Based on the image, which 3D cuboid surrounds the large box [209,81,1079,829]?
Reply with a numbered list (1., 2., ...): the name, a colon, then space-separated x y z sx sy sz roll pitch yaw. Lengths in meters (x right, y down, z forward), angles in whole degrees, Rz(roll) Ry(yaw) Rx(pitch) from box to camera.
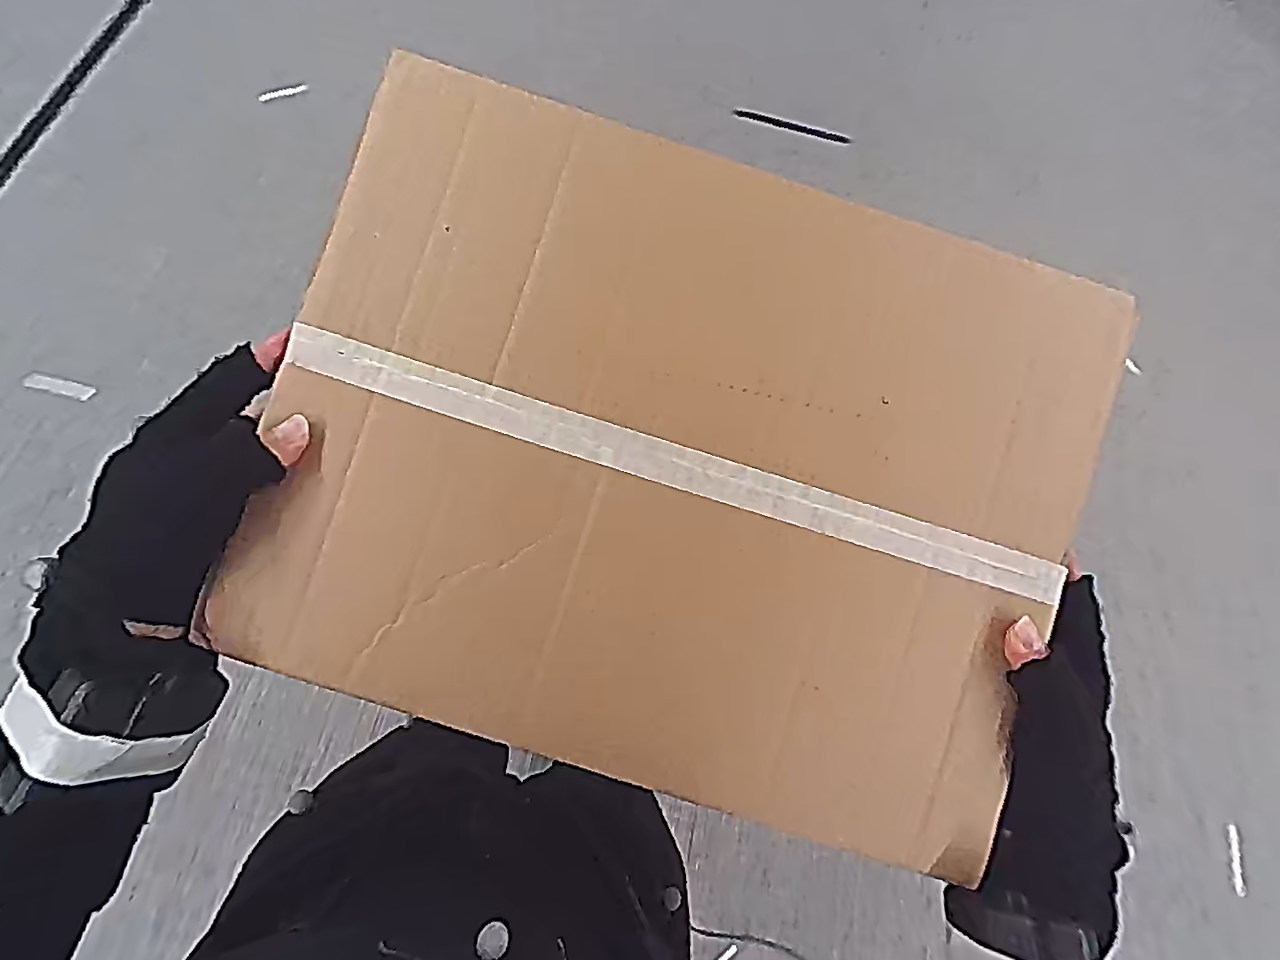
1. large box: 0.006 -0.009 0.434 0.408 0.320 0.320 17 87 -2
